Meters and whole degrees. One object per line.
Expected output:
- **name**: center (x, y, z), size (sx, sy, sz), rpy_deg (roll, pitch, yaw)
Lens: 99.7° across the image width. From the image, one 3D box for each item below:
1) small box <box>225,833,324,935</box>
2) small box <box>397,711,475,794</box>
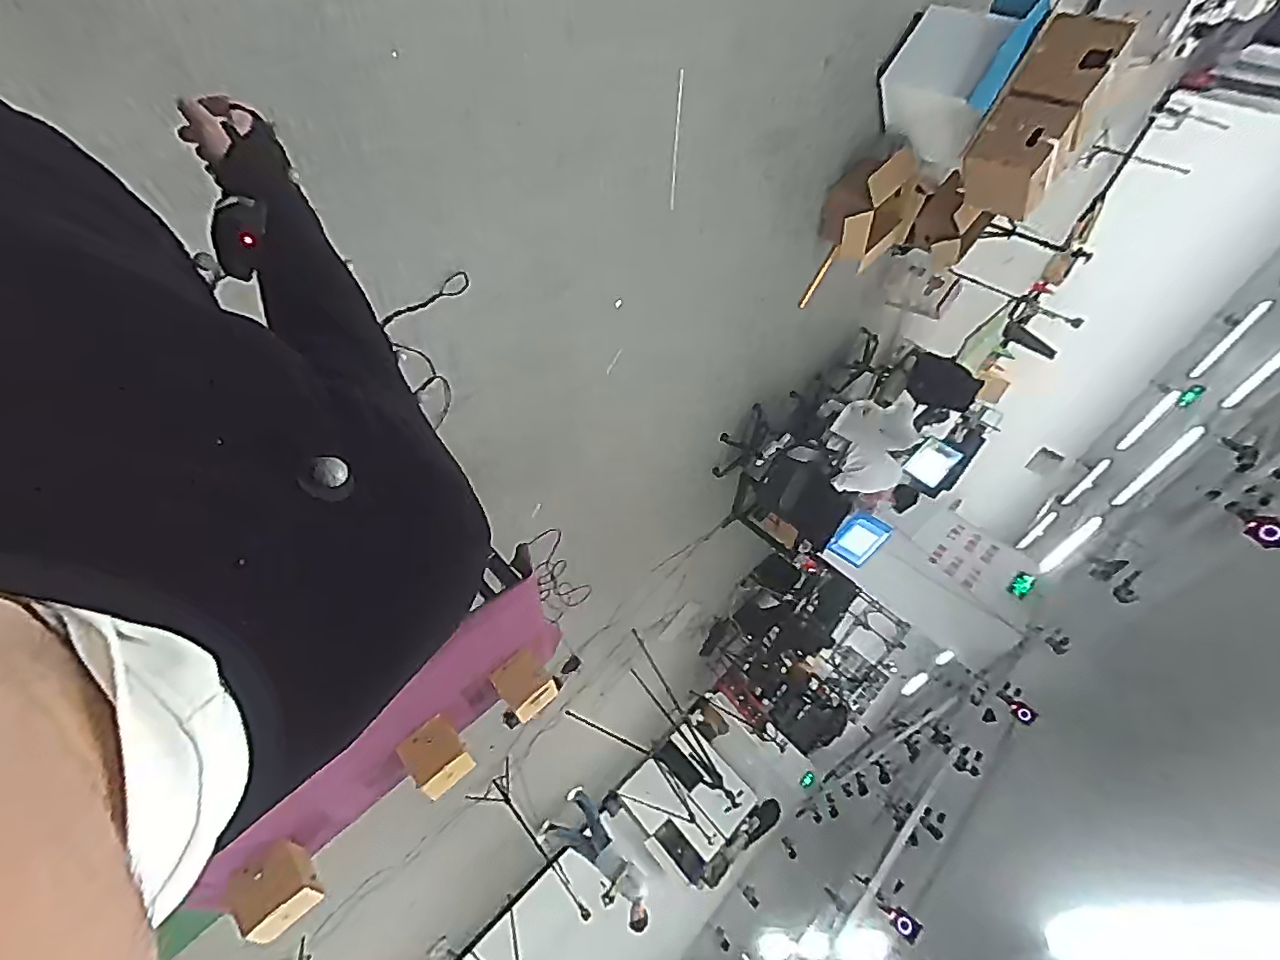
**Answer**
- **small box**: center (-1.068, 1.179, 1.585), size (0.168, 0.176, 0.179), rpy_deg (-33, 148, -32)
- **small box**: center (-0.690, 0.919, 1.830), size (0.168, 0.176, 0.179), rpy_deg (-35, 148, -26)
